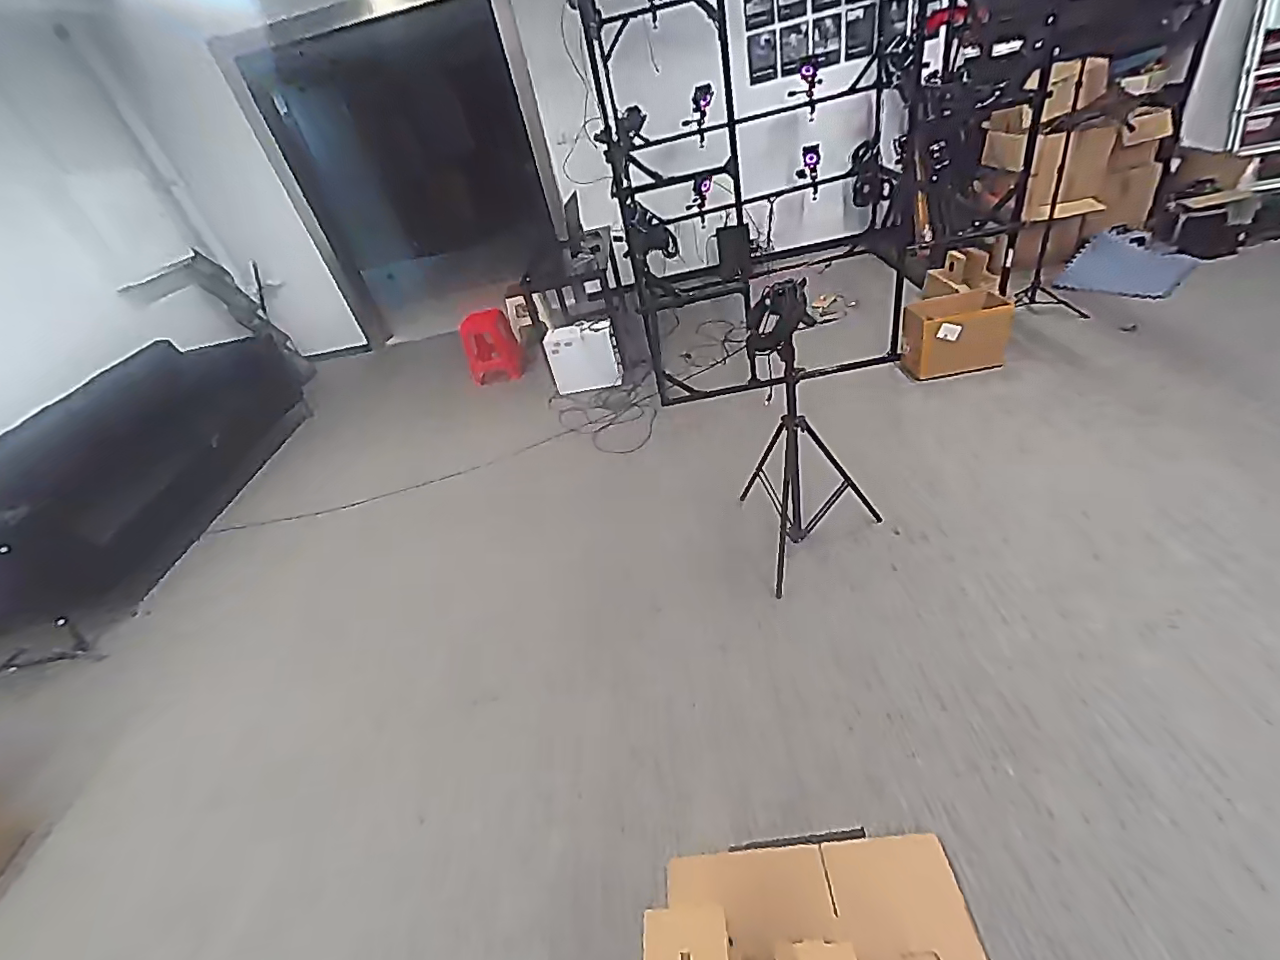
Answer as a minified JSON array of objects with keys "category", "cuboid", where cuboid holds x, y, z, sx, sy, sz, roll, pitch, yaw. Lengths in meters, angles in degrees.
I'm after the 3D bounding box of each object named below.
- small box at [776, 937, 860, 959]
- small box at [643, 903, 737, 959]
[{"category":"small box","cuboid":[0.372,1.066,1.099,0.168,0.176,0.179,-7,37,9]},{"category":"small box","cuboid":[0.102,0.960,1.054,0.168,0.176,0.179,-9,37,10]}]
